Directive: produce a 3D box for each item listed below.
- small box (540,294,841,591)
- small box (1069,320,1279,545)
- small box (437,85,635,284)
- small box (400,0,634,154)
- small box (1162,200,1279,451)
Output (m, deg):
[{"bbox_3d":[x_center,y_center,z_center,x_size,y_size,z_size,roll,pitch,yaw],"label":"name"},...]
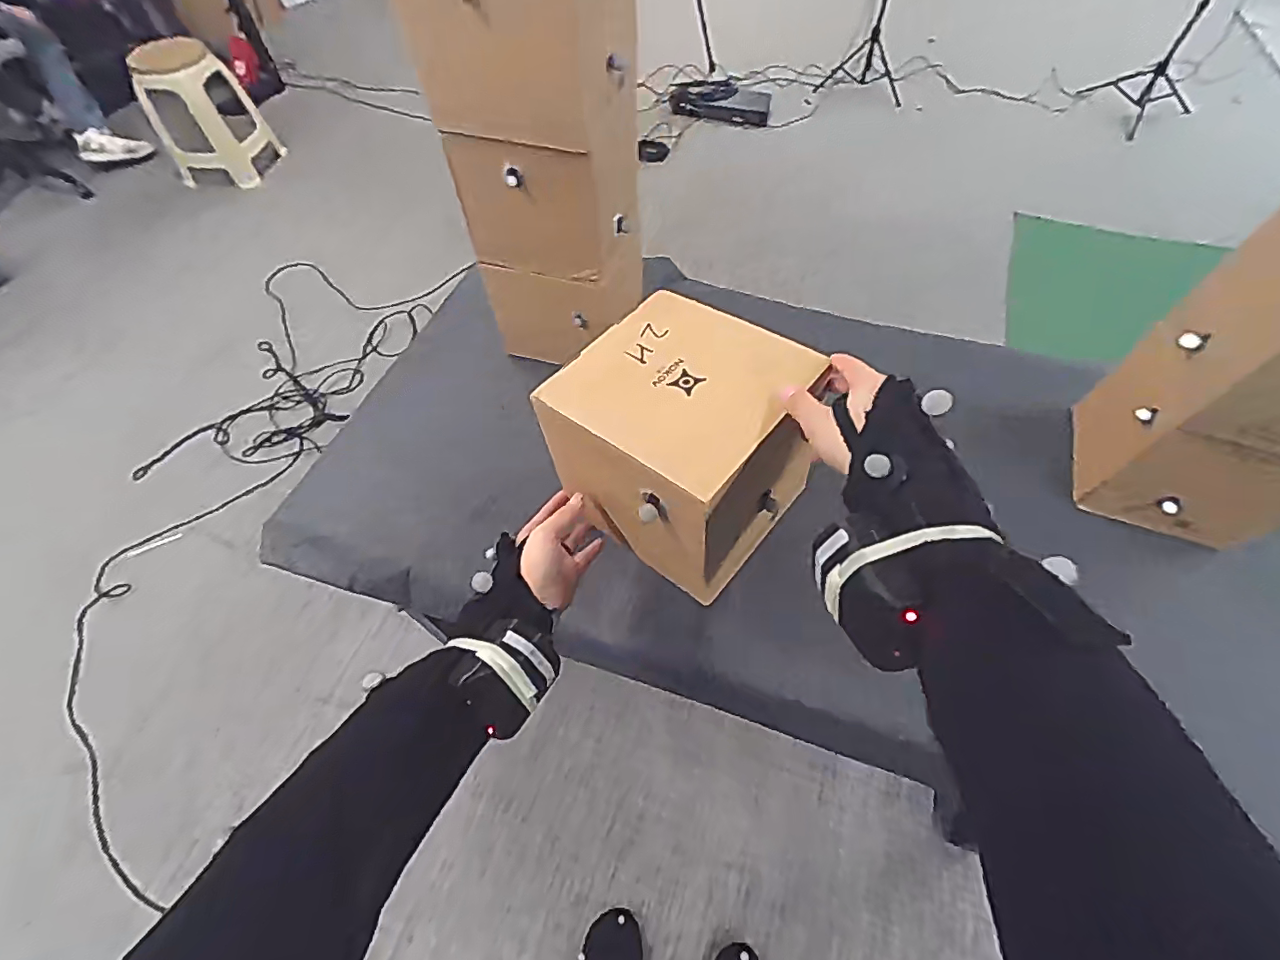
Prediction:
[{"bbox_3d":[0.045,-0.026,0.480,0.179,0.176,0.168,32,63,27],"label":"small box"},{"bbox_3d":[0.648,-0.052,0.639,0.168,0.176,0.179,18,61,12],"label":"small box"},{"bbox_3d":[-0.110,-0.367,0.664,0.179,0.176,0.168,13,61,8],"label":"small box"},{"bbox_3d":[-0.112,-0.445,0.519,0.179,0.176,0.168,15,61,9],"label":"small box"},{"bbox_3d":[0.639,-0.136,0.498,0.168,0.176,0.179,18,62,12],"label":"small box"}]
